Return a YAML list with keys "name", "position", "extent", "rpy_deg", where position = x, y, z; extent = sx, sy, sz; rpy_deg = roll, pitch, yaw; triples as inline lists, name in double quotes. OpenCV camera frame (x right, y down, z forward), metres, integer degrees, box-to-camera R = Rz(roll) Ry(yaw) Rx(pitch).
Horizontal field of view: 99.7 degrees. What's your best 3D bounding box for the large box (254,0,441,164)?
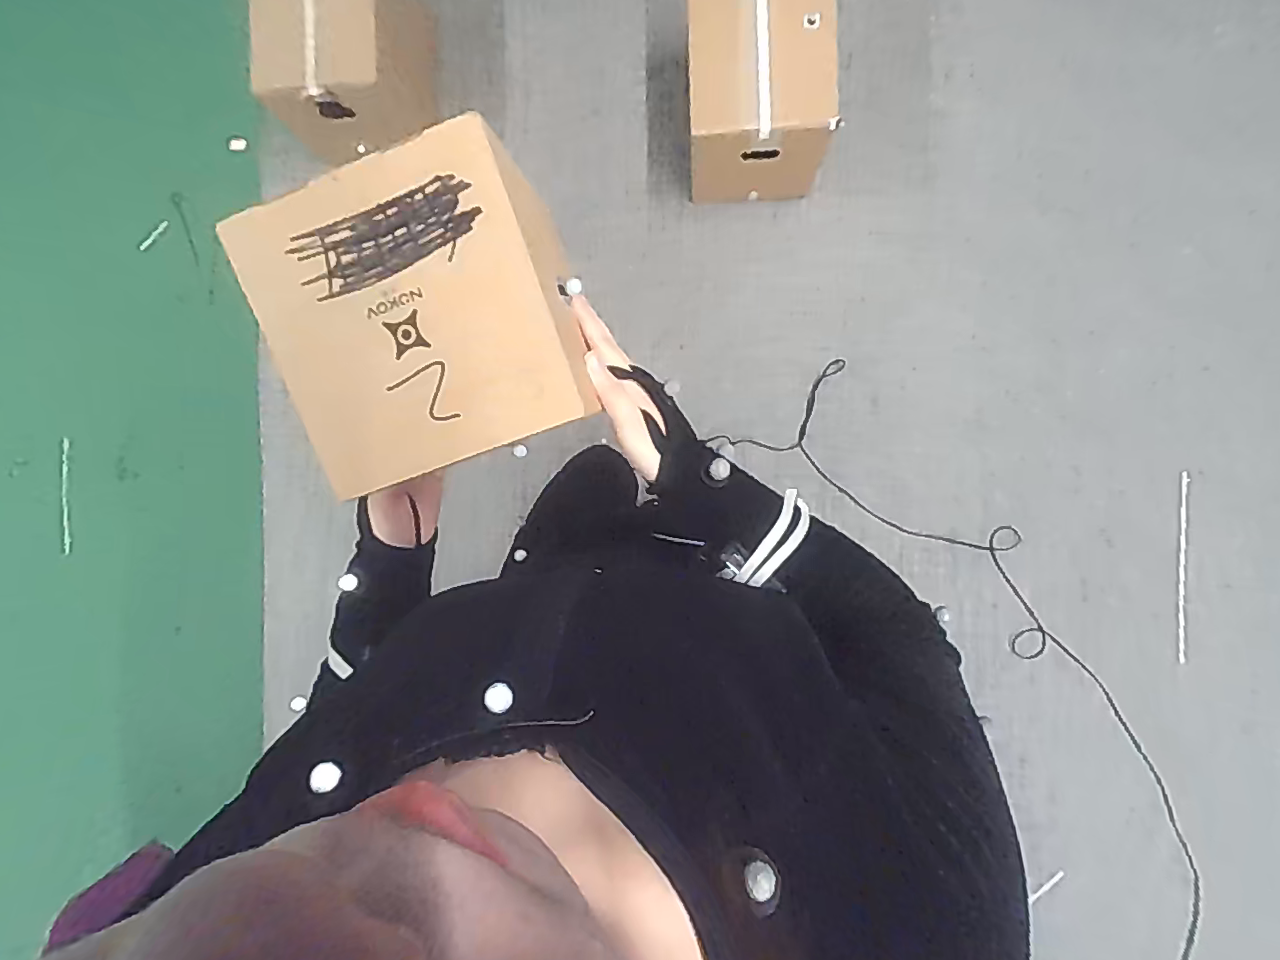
- name: "large box"
  position: [-0.732, -1.106, 1.390]
  extent: [0.320, 0.320, 0.408]
  rpy_deg: [0, 91, 6]
